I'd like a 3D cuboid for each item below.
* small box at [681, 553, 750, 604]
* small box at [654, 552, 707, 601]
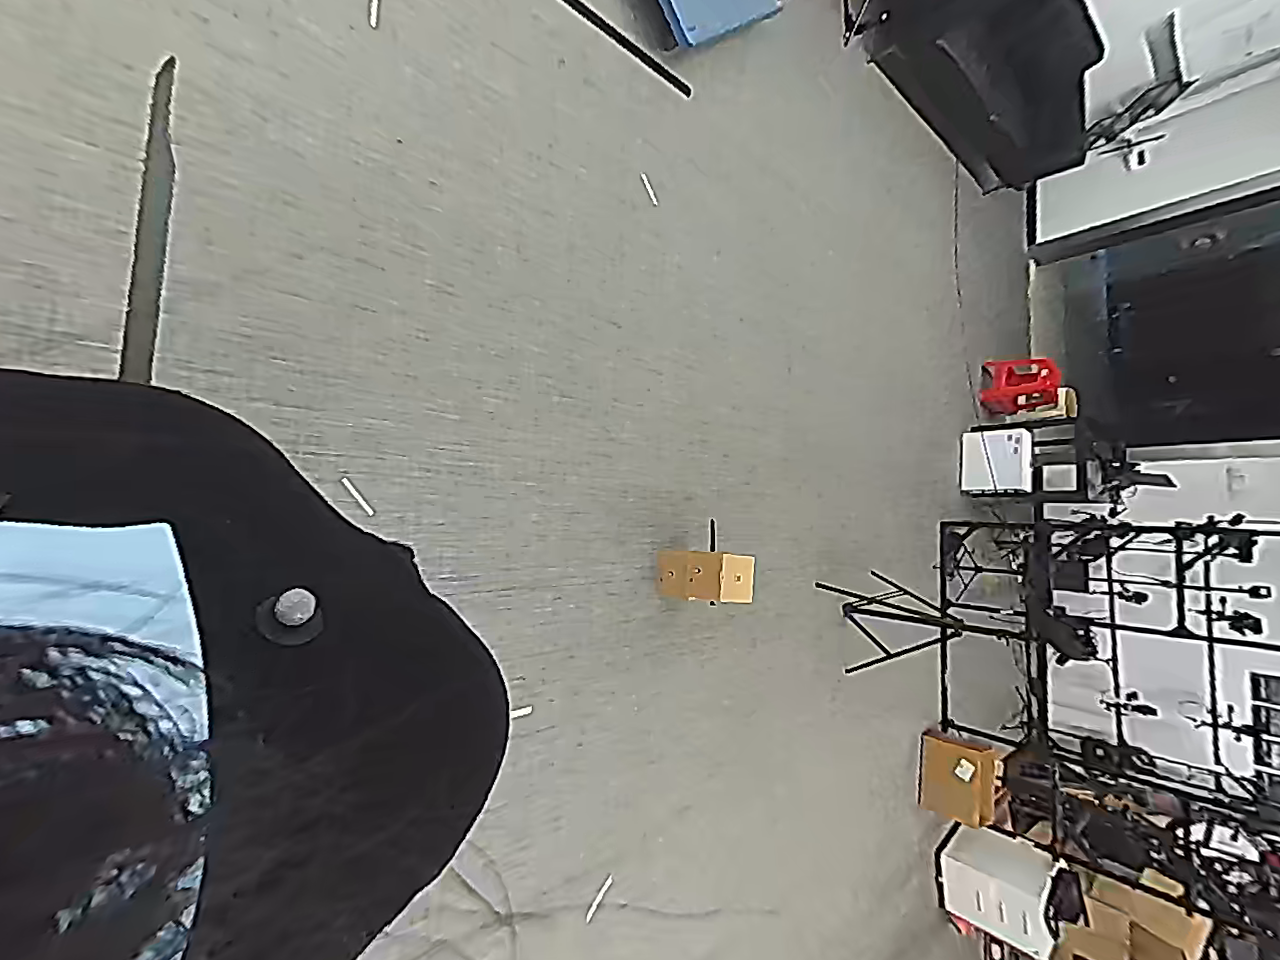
[{"bbox_3d":[0.272,0.353,1.950,0.179,0.176,0.168,11,80,-40],"label":"small box"},{"bbox_3d":[0.168,0.366,2.075,0.179,0.176,0.168,3,86,-42],"label":"small box"}]
